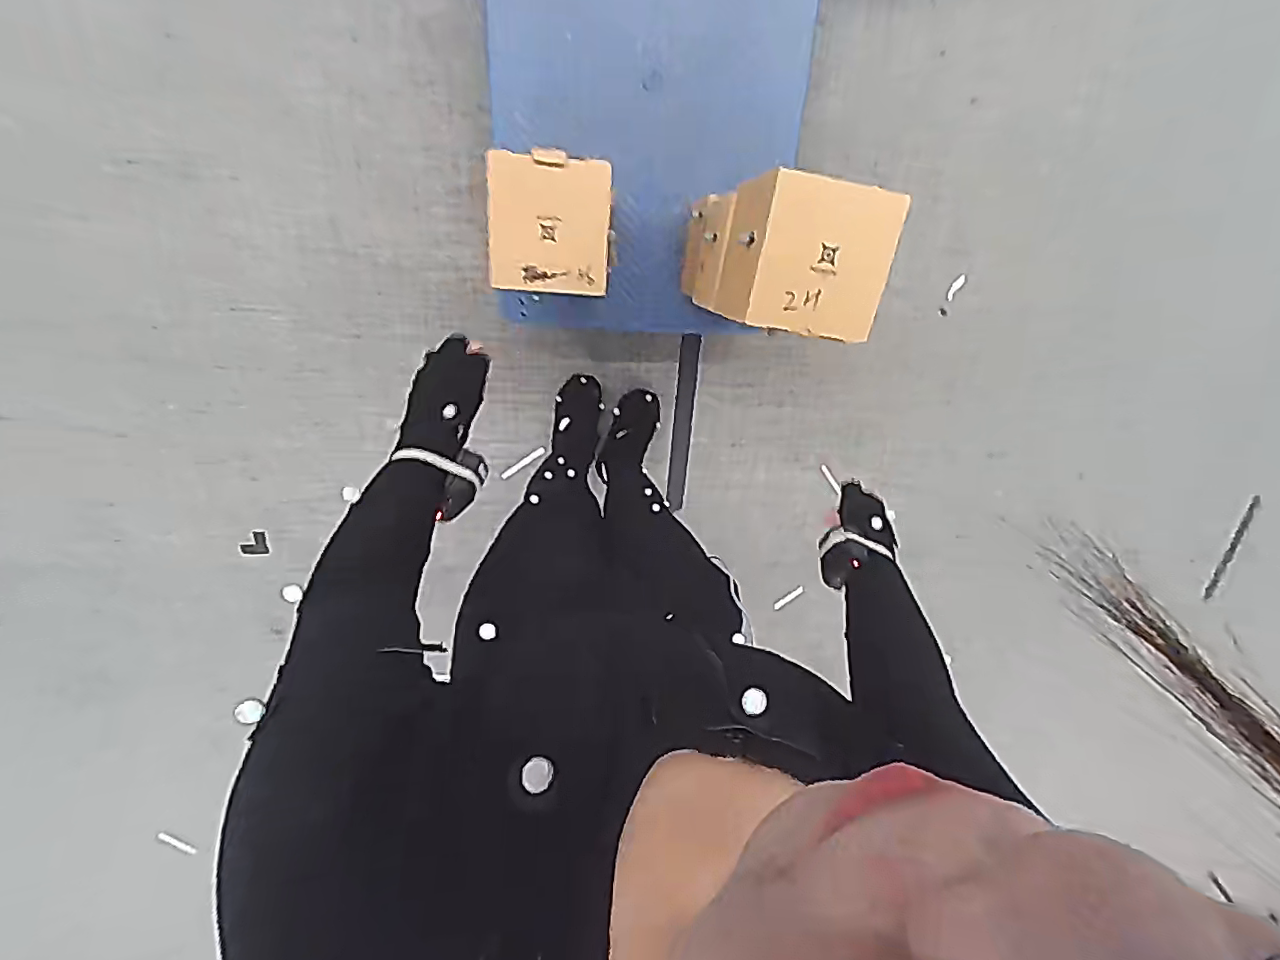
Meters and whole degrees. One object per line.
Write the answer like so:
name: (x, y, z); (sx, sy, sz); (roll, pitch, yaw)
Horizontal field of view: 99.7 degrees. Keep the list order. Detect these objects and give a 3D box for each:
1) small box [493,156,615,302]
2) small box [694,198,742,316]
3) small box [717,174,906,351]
small box: (-0.131, -0.375, 0.831); (0.168, 0.176, 0.179); (3, 111, -7)
small box: (0.196, -0.345, 0.879); (0.179, 0.176, 0.168); (6, 112, -9)
small box: (0.213, -0.286, 0.726); (0.168, 0.176, 0.179); (7, 111, -9)
